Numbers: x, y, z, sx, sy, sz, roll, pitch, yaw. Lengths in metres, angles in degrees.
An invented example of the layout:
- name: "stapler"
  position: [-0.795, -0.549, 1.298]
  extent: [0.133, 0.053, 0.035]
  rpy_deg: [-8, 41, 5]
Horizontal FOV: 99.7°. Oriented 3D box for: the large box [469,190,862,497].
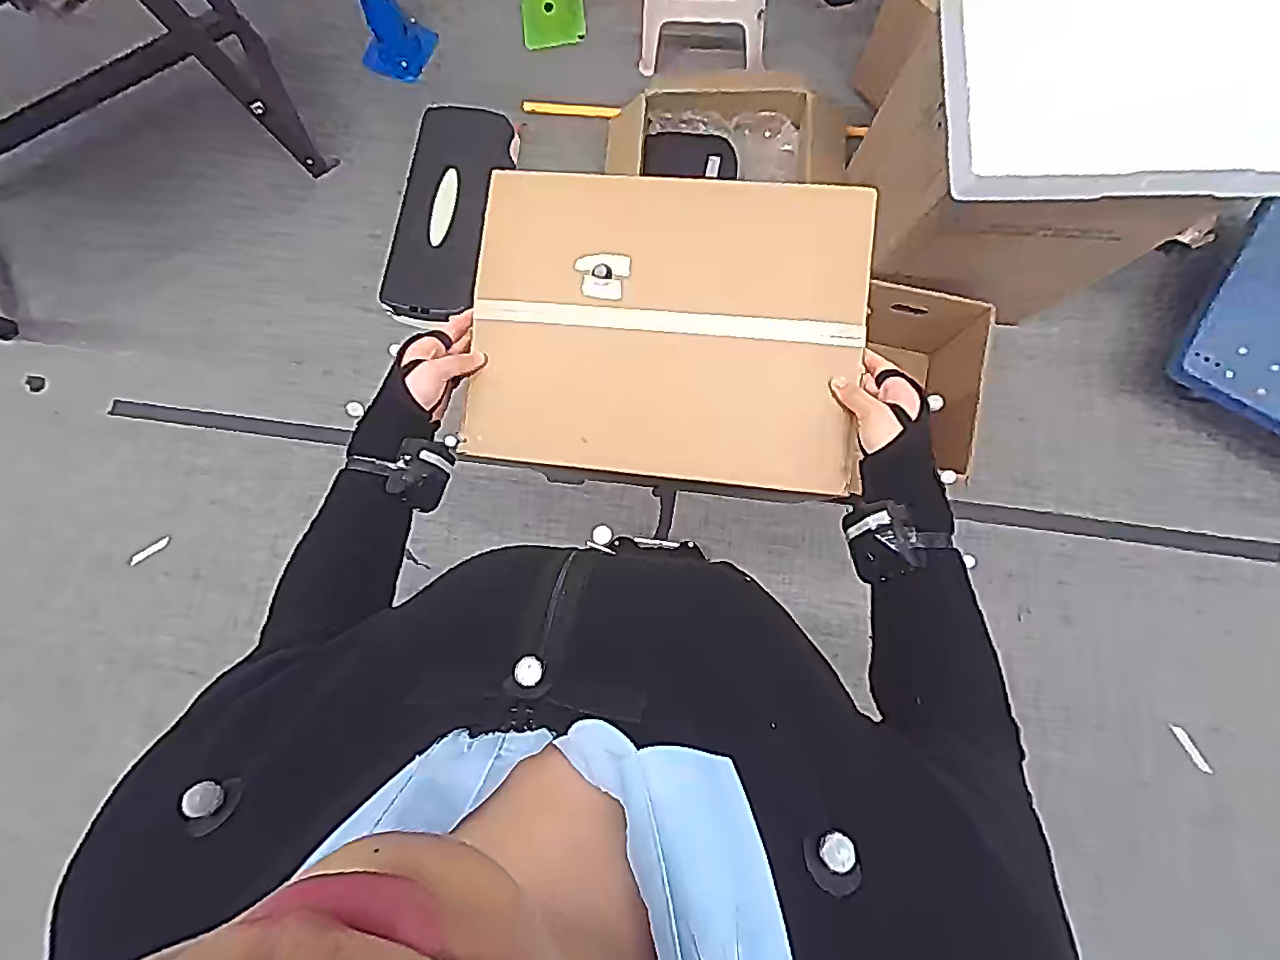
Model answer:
- name: "large box"
  position: [0.041, -0.148, 0.720]
  extent: [0.408, 0.320, 0.320]
  rpy_deg: [5, 85, 7]
